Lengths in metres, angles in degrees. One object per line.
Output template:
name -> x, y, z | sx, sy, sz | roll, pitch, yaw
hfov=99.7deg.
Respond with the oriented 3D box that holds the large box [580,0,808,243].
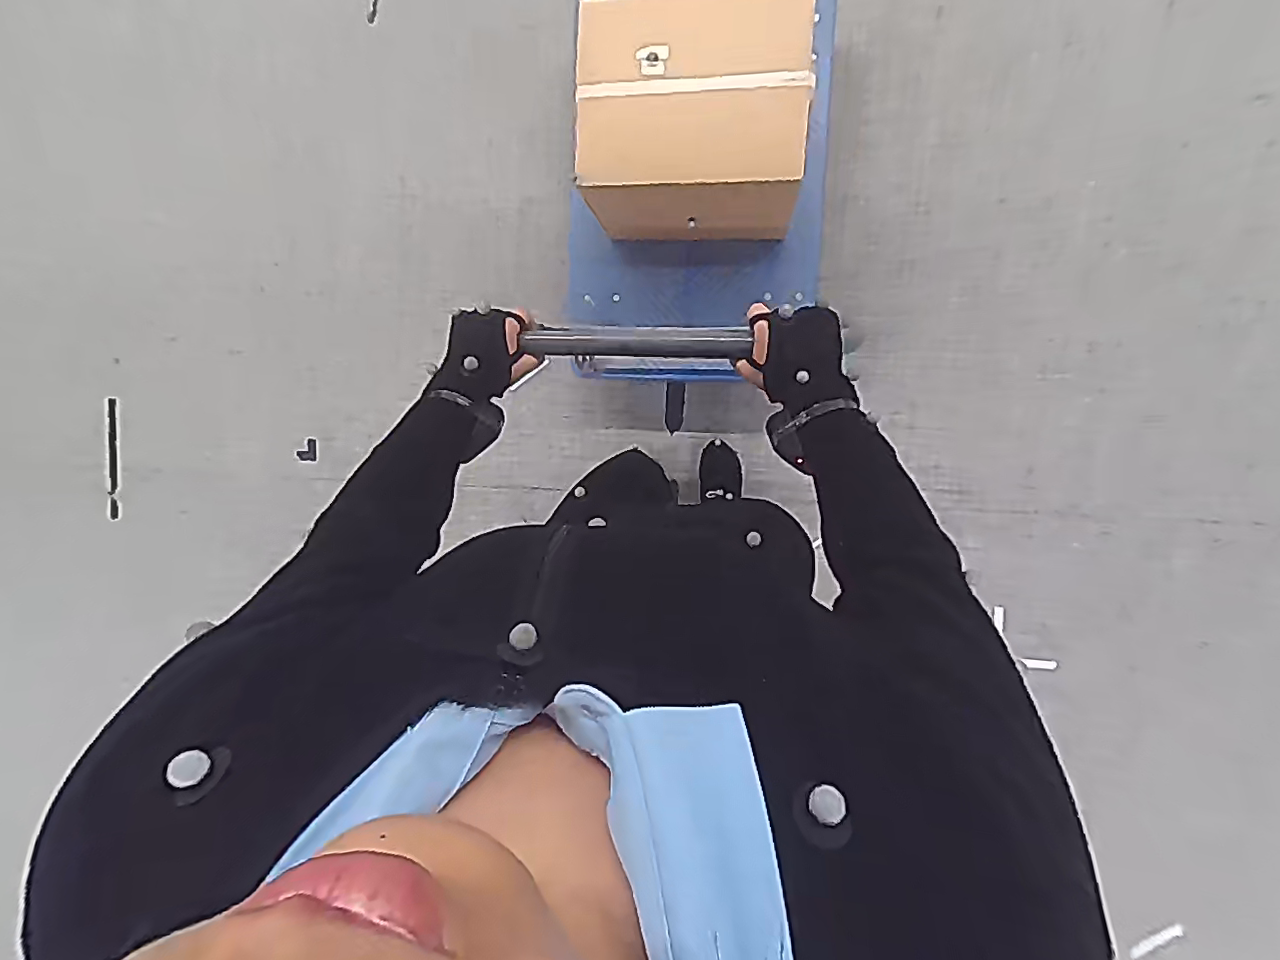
large box -> 0.114, -0.692, 1.102 | 0.408, 0.320, 0.320 | 3, 96, 10
